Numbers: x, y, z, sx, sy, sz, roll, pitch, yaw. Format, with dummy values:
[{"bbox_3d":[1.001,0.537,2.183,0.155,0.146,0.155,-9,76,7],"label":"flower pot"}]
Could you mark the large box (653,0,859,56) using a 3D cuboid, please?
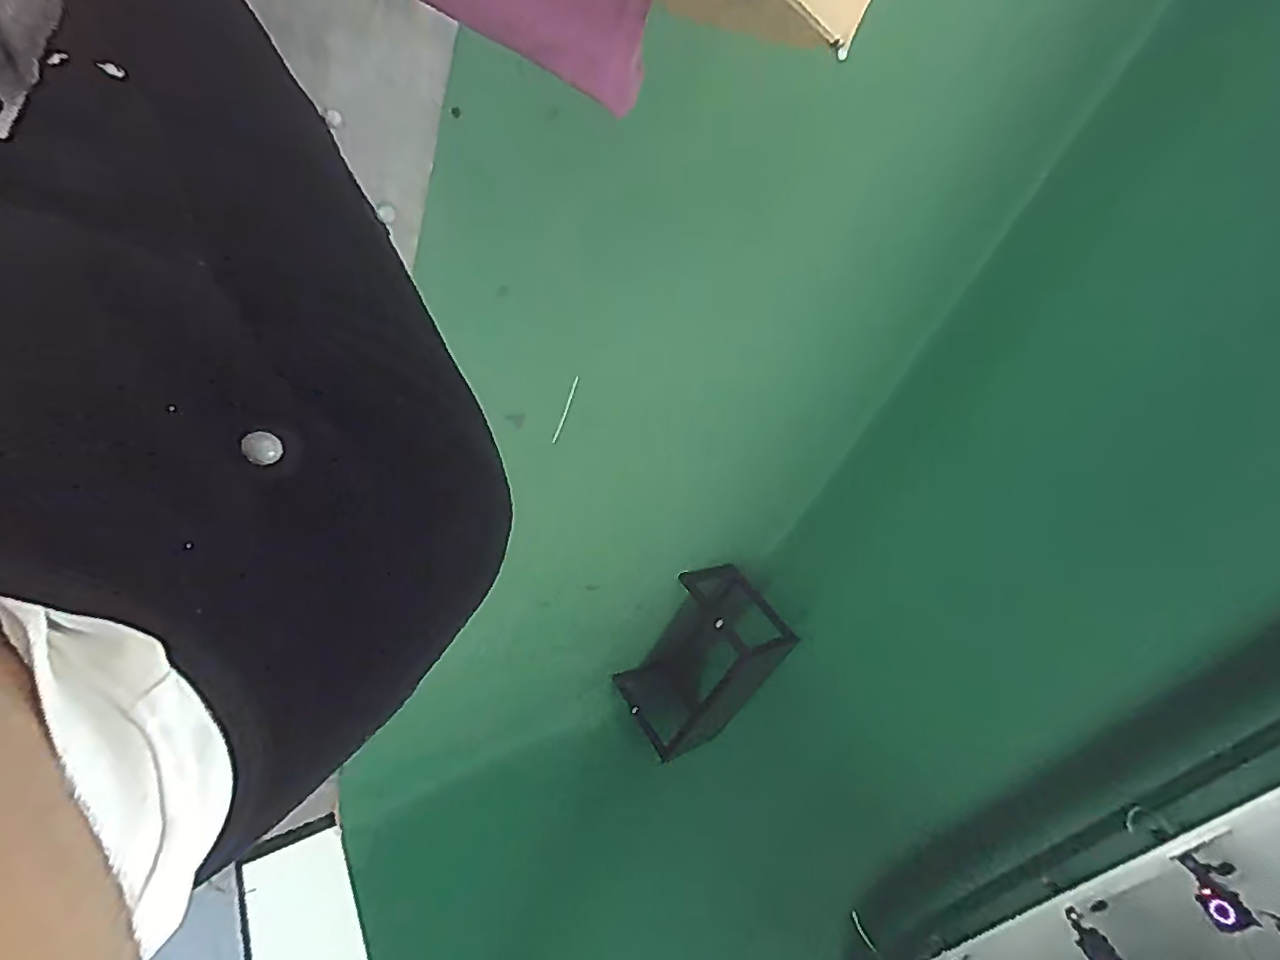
[{"bbox_3d":[0.096,-0.714,0.492,0.320,0.320,0.408,-3,131,-40],"label":"large box"}]
